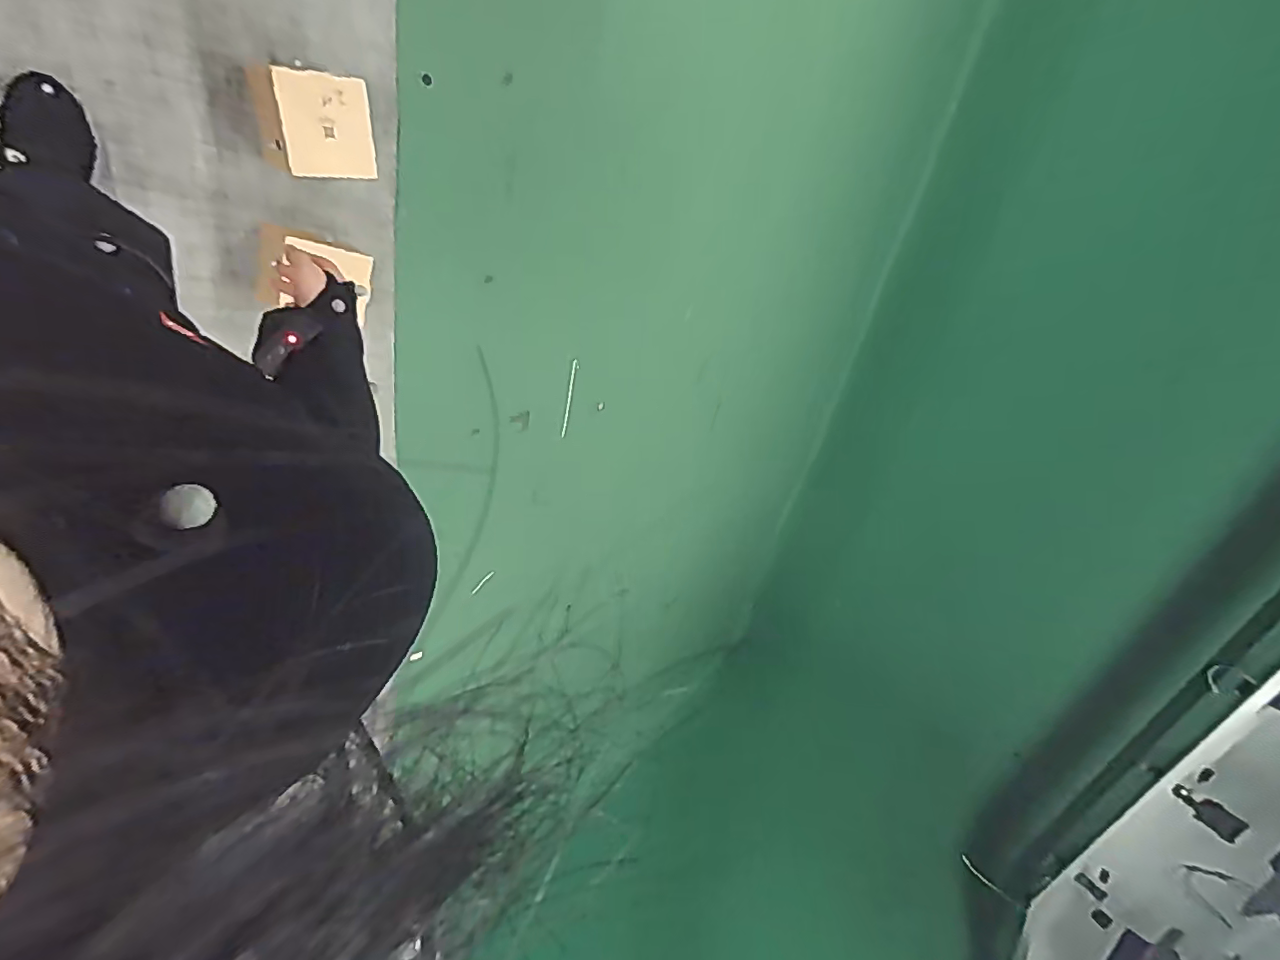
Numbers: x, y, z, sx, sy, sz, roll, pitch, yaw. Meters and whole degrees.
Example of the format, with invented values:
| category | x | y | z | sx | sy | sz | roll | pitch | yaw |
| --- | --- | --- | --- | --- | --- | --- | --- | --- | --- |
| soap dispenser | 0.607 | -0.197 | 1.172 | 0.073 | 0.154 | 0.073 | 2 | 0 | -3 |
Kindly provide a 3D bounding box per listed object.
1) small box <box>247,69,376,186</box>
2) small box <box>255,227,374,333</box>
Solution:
| category | x | y | z | sx | sy | sz | roll | pitch | yaw |
| --- | --- | --- | --- | --- | --- | --- | --- | --- | --- |
| small box | -0.660 | -0.708 | 1.092 | 0.168 | 0.176 | 0.179 | -23 | 134 | -39 |
| small box | -0.733 | -0.449 | 1.215 | 0.179 | 0.176 | 0.168 | -4 | 121 | -49 |
